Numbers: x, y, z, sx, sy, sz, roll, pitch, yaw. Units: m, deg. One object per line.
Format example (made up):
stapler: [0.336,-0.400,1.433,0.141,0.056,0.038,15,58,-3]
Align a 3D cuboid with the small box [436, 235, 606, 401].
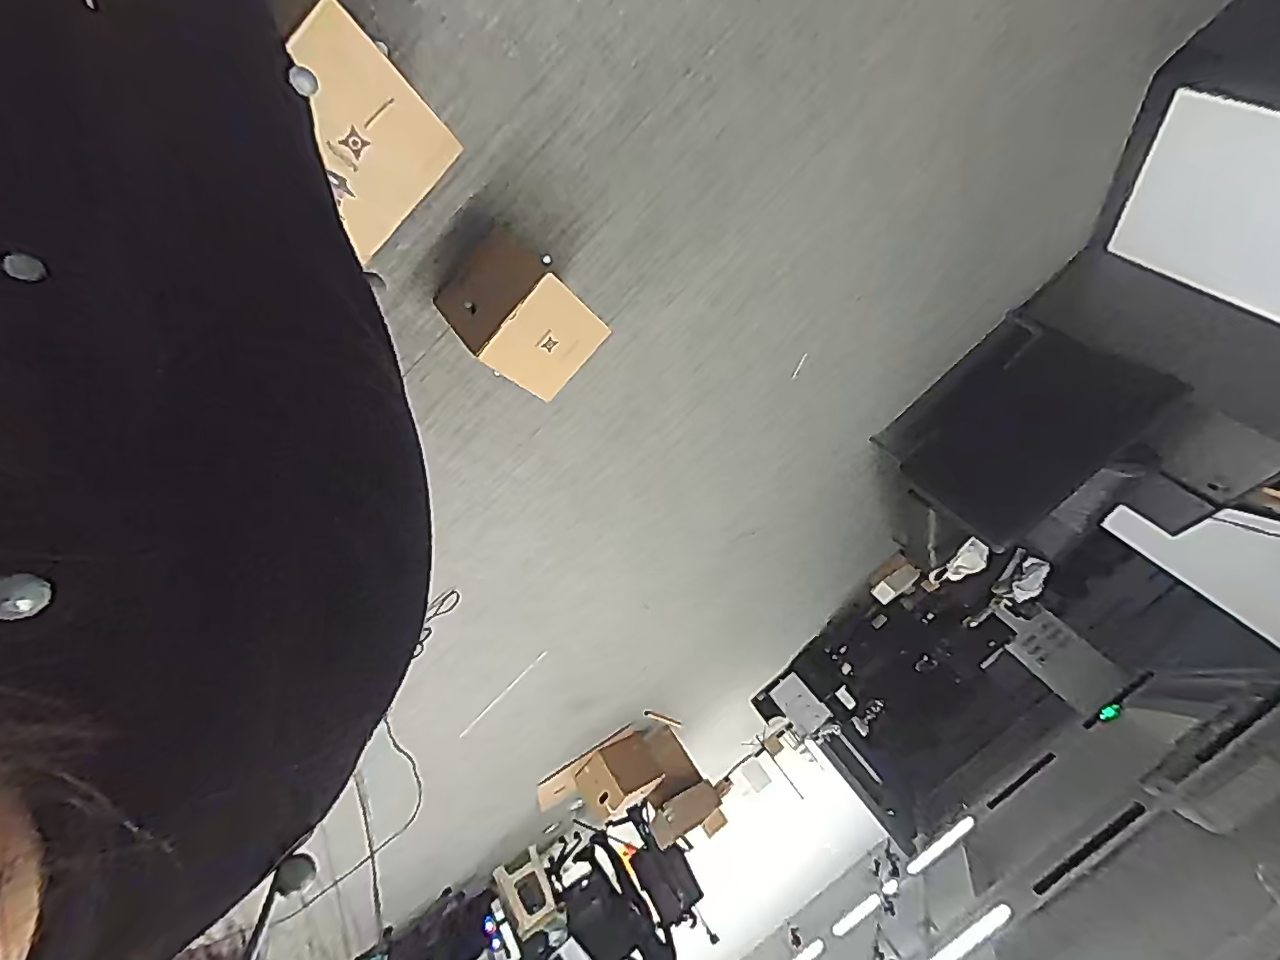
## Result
small box: [-0.195,-0.265,0.875,0.168,0.176,0.179,-45,149,9]
